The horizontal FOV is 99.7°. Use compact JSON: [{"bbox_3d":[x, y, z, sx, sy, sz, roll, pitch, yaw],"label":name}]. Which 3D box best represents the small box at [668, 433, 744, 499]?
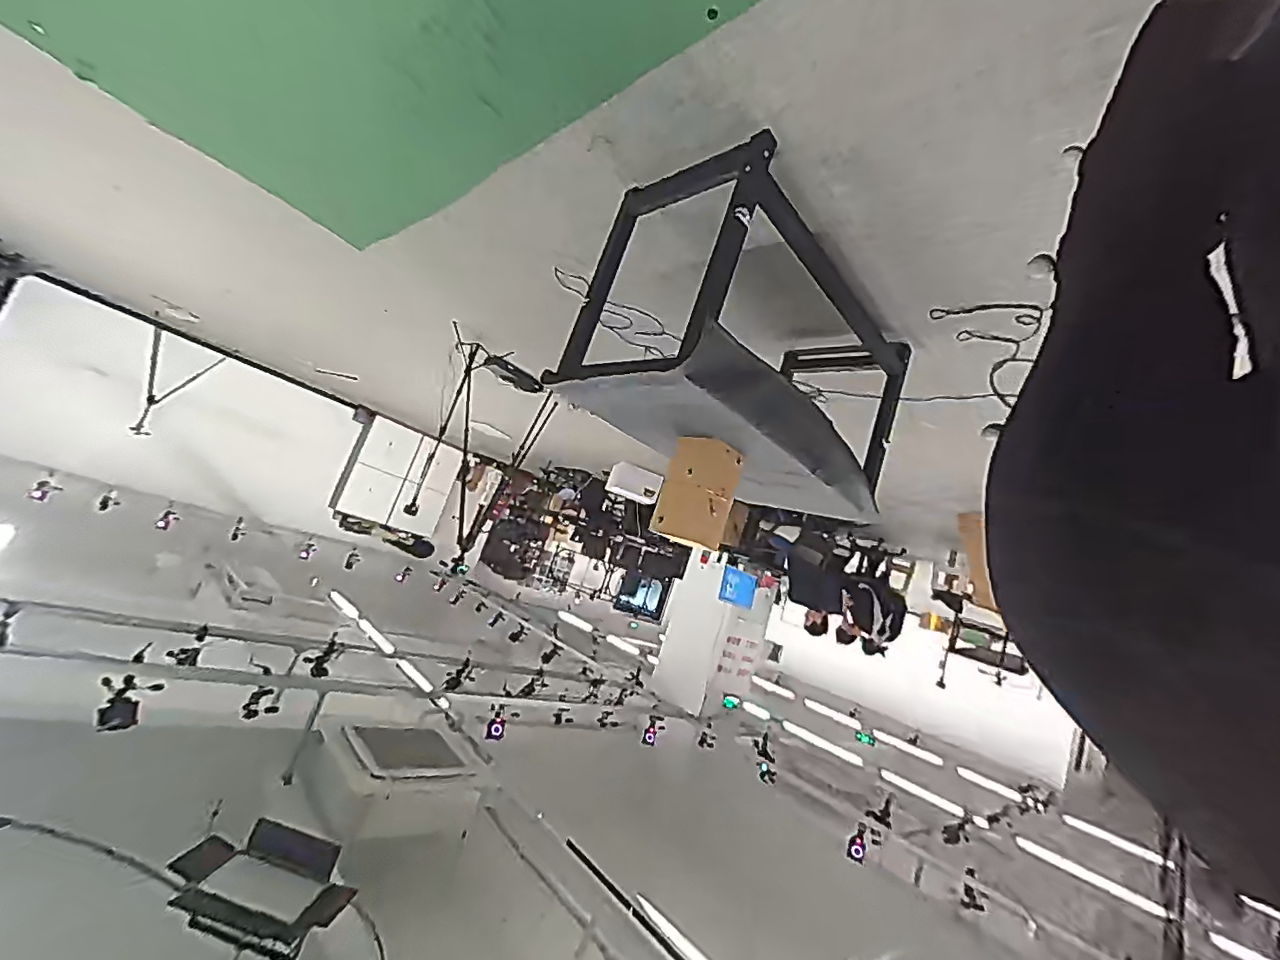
[{"bbox_3d":[0.227,-0.049,1.789,0.168,0.176,0.179,27,169,-41],"label":"small box"}]

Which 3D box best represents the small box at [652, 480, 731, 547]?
[{"bbox_3d":[0.173,0.107,1.783,0.168,0.176,0.179,25,168,-39],"label":"small box"}]
